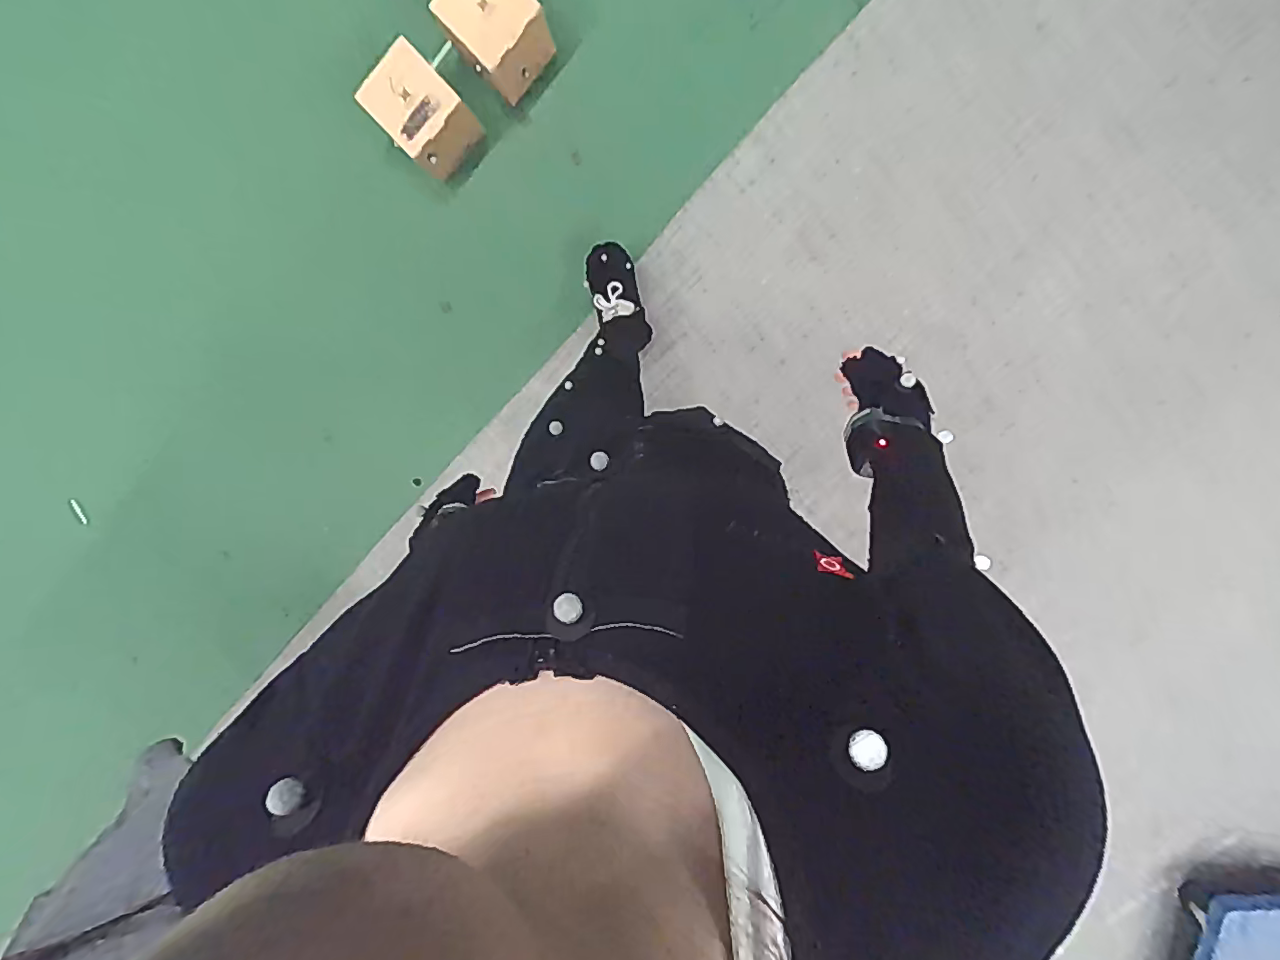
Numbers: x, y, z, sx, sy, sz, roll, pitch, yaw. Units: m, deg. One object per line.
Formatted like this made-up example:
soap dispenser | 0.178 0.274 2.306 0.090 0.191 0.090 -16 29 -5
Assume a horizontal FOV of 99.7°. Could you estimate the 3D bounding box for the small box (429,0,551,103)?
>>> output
small box | -0.322 -0.992 1.196 0.179 0.176 0.168 43 100 -8
